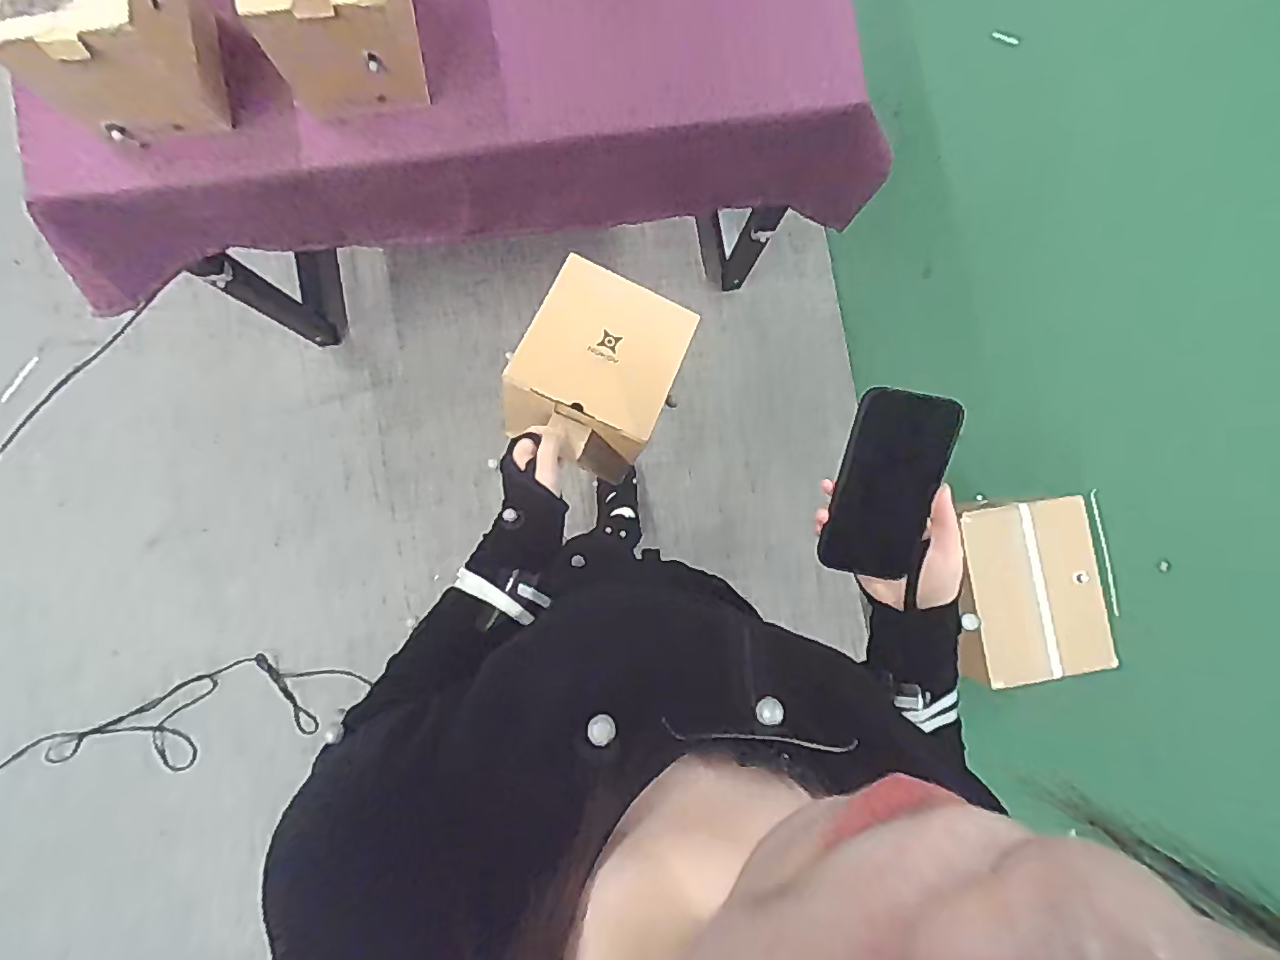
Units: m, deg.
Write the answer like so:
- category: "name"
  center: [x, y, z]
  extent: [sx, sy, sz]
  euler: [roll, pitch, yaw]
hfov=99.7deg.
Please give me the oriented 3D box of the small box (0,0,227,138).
- category: "small box"
  center: [-0.660, -0.563, 0.677]
  extent: [0.168, 0.176, 0.179]
  euler: [-11, 86, -5]

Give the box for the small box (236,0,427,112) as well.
- category: "small box"
  center: [-0.391, -0.612, 0.699]
  extent: [0.168, 0.176, 0.179]
  euler: [-10, 87, -5]

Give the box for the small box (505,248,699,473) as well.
- category: "small box"
  center: [-0.053, -0.133, 0.660]
  extent: [0.168, 0.176, 0.179]
  euler: [25, 72, -5]
